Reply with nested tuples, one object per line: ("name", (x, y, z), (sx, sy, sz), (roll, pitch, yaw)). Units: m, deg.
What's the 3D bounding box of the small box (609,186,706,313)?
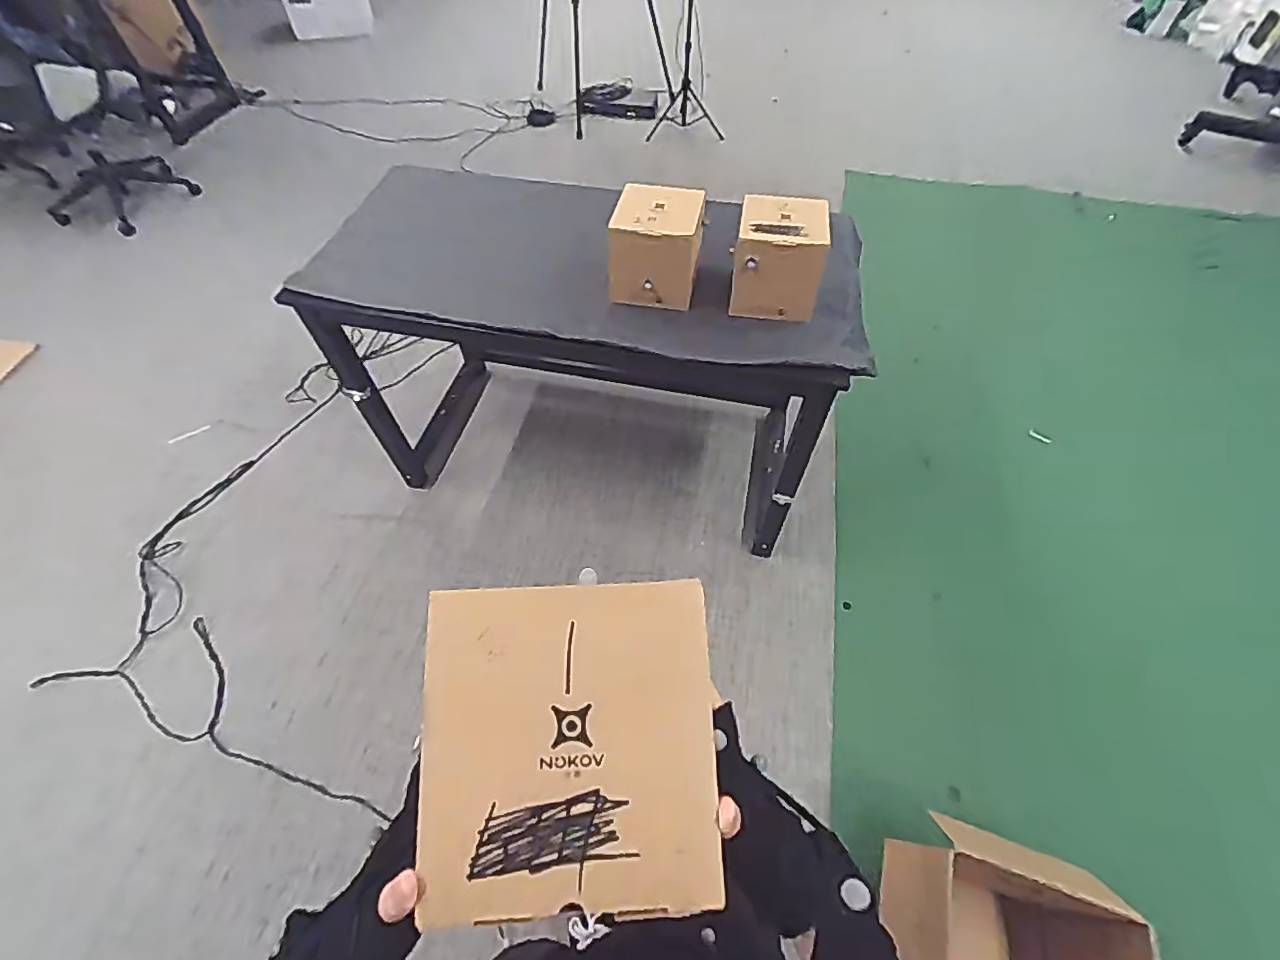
("small box", (0.037, -0.476, 1.121), (0.168, 0.176, 0.179), (9, 55, 7))
